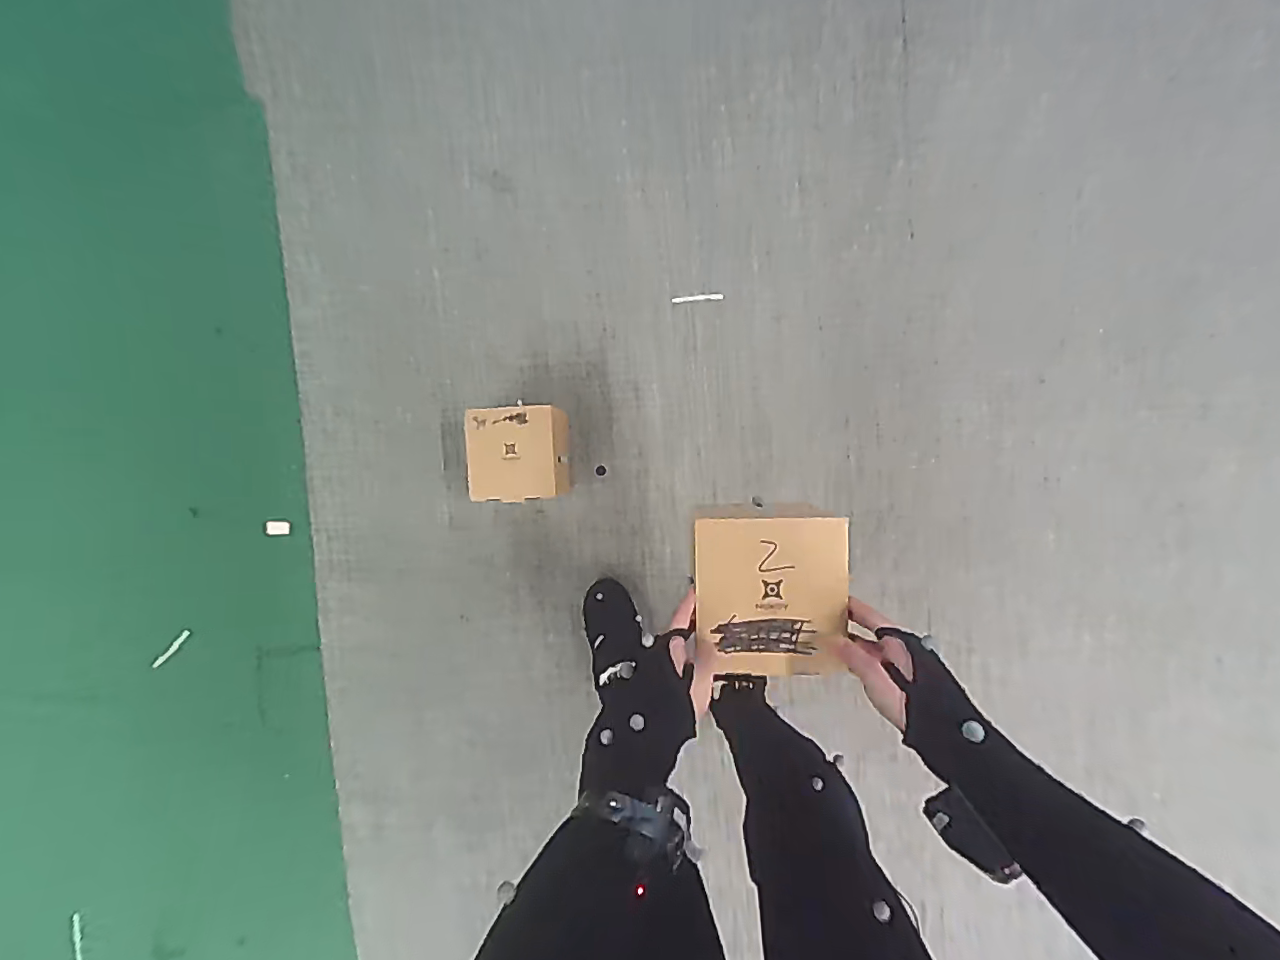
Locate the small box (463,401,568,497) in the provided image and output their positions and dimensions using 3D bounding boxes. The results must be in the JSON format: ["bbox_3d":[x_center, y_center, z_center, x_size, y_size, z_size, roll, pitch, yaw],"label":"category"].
[{"bbox_3d":[-0.239,-0.063,1.078,0.168,0.176,0.179,-2,94,2],"label":"small box"}]
